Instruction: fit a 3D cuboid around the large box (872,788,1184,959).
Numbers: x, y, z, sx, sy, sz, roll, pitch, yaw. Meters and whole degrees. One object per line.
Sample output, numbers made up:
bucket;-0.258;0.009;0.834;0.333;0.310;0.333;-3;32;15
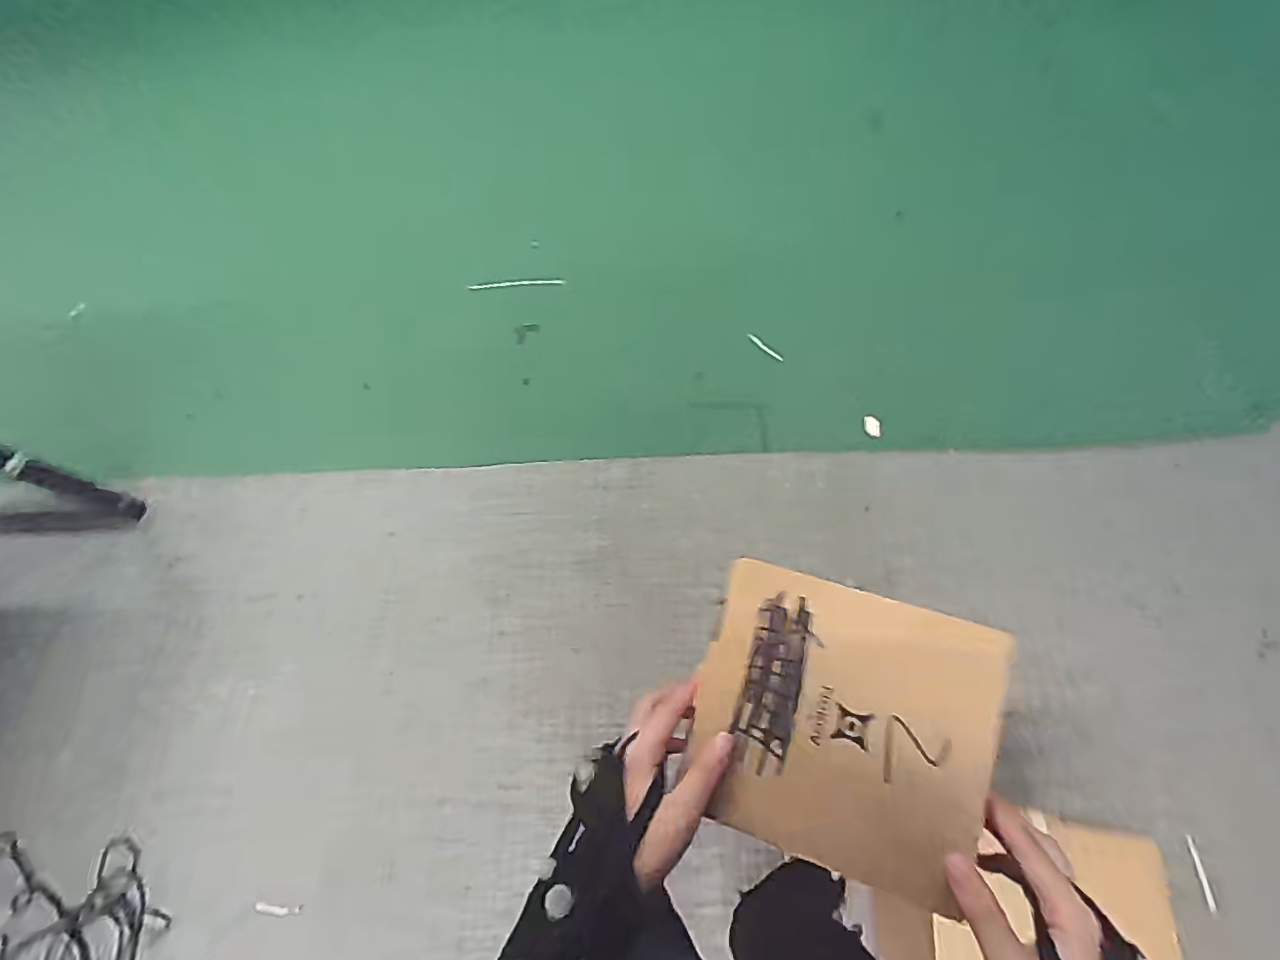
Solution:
large box;0.572;0.740;0.843;0.320;0.320;0.408;4;67;10
